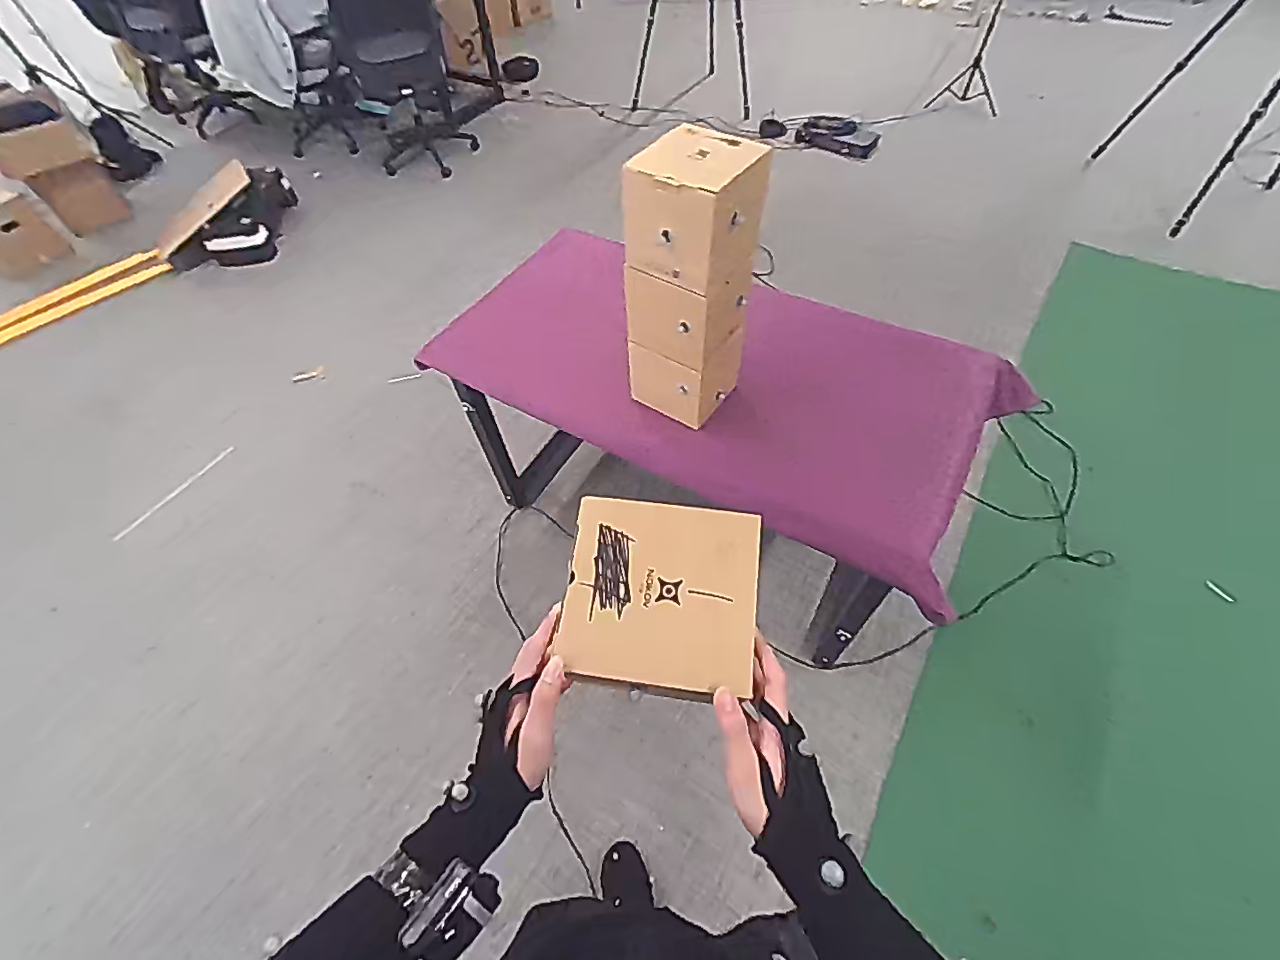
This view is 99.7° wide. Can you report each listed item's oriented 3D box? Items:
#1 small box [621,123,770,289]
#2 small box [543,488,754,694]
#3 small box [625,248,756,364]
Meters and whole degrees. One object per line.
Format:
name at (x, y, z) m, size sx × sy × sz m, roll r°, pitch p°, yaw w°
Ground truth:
small box at (0.090, -0.443, 0.883) m, size 0.168 × 0.176 × 0.179 m, roll 30°, pitch 61°, yaw 21°
small box at (0.017, 0.123, 0.563) m, size 0.179 × 0.176 × 0.168 m, roll 6°, pitch 66°, yaw 6°
small box at (0.092, -0.344, 1.013) m, size 0.179 × 0.176 × 0.168 m, roll 30°, pitch 61°, yaw 21°
